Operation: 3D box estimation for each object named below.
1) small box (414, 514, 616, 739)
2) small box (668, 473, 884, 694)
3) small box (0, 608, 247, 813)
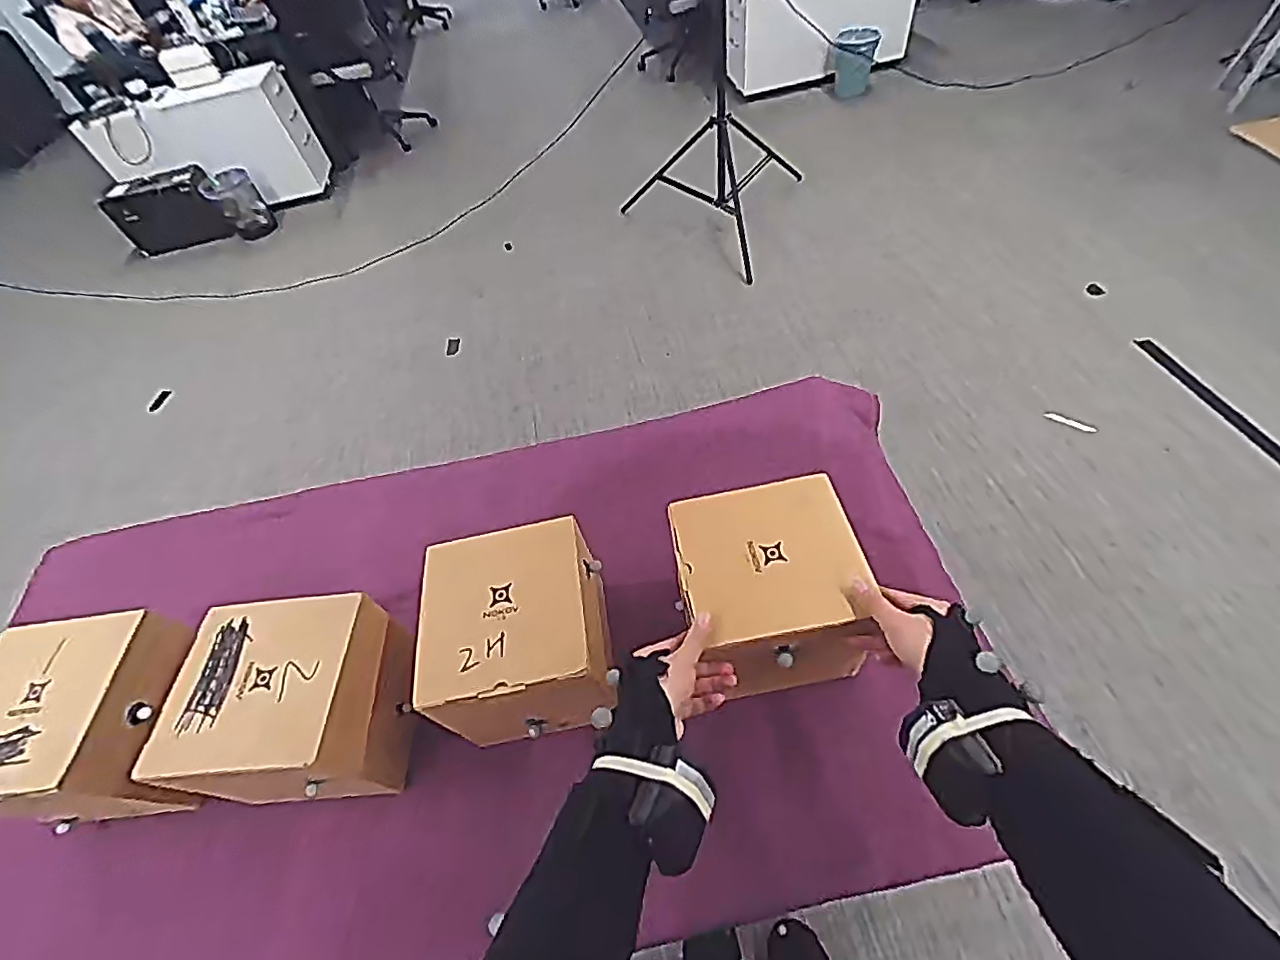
[{"bbox_3d":[-0.128,0.167,0.606,0.168,0.176,0.179,-12,53,1],"label":"small box"},{"bbox_3d":[0.136,0.119,0.598,0.179,0.176,0.168,-12,52,2],"label":"small box"},{"bbox_3d":[-0.596,0.265,0.609,0.168,0.176,0.179,-8,53,3],"label":"small box"}]
